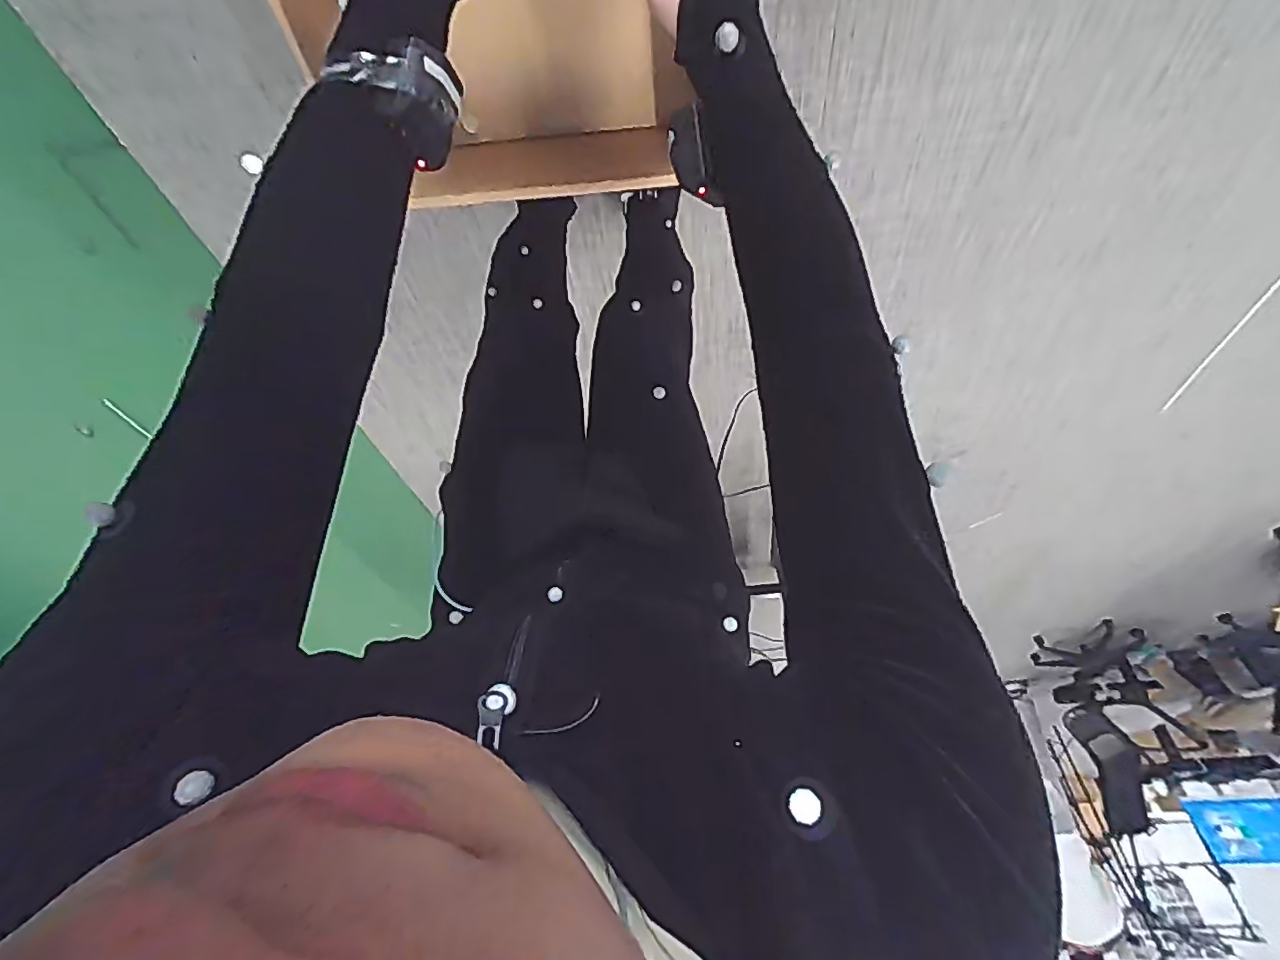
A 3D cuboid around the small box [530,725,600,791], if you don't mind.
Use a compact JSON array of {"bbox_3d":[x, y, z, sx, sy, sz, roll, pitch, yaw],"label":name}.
[{"bbox_3d":[-0.252,0.955,1.852,0.179,0.176,0.168,-30,136,31],"label":"small box"}]
